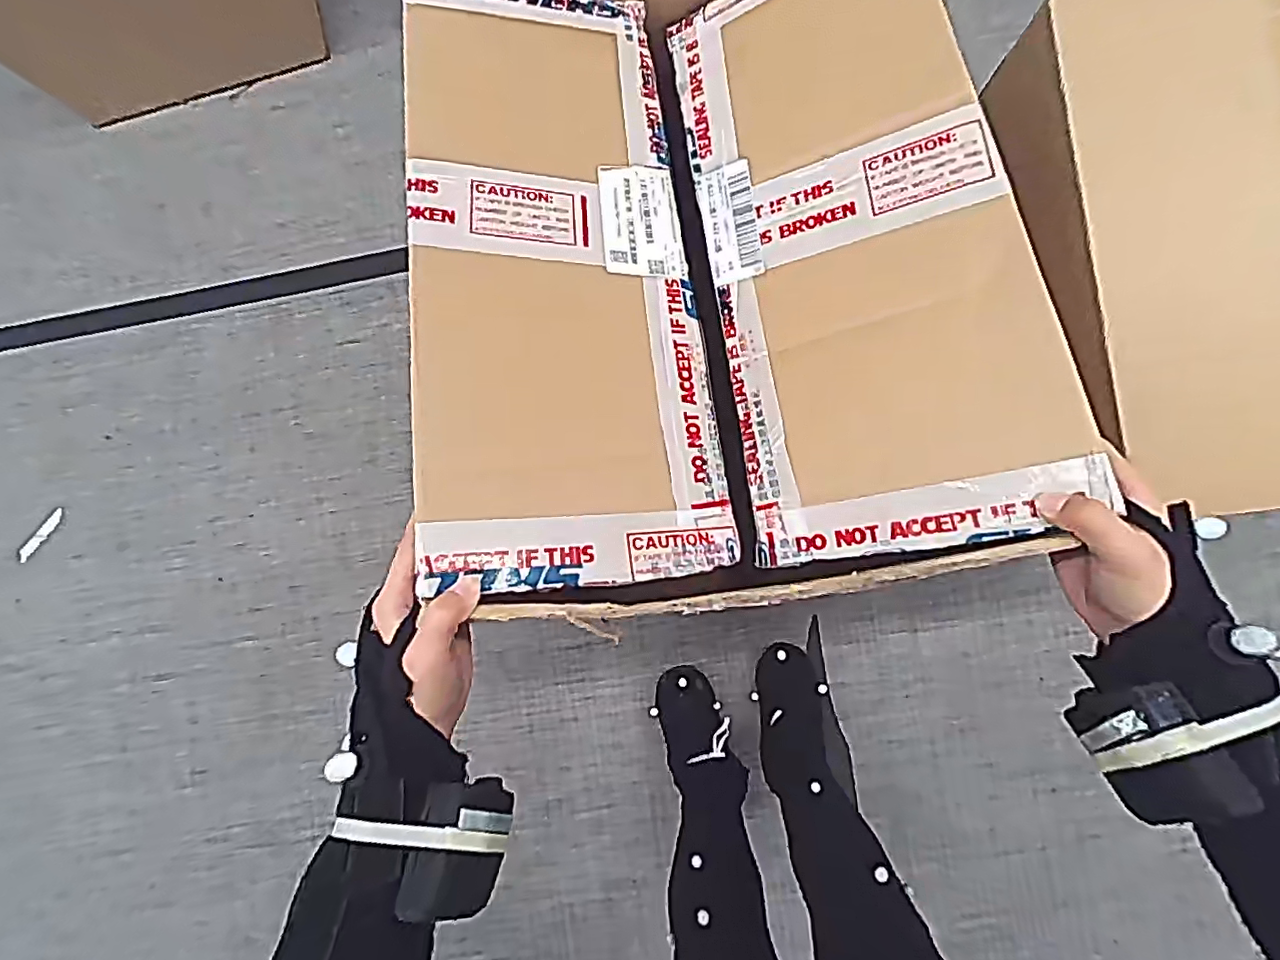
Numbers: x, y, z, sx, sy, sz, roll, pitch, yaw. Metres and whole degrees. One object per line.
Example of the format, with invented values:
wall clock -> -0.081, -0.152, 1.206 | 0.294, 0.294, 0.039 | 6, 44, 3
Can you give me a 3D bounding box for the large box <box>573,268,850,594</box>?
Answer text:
large box -> 0.099, -0.062, 0.874 | 0.320, 0.320, 0.408 | -10, 87, 3
